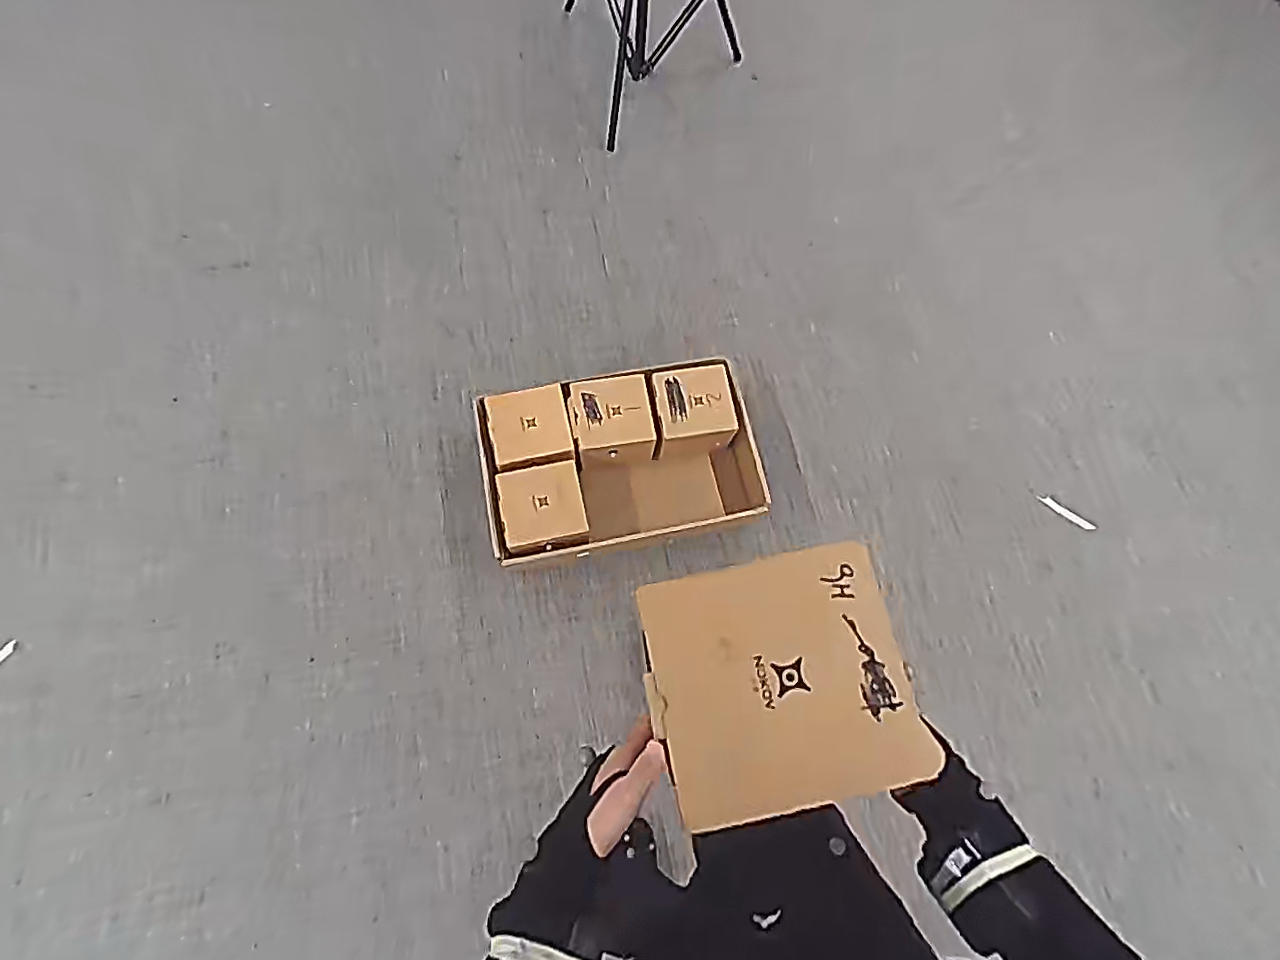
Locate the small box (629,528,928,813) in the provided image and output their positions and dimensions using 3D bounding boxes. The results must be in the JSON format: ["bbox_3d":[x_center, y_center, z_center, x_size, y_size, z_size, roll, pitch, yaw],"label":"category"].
[{"bbox_3d":[0.098,0.149,0.458,0.179,0.176,0.168,-13,76,0],"label":"small box"}]
